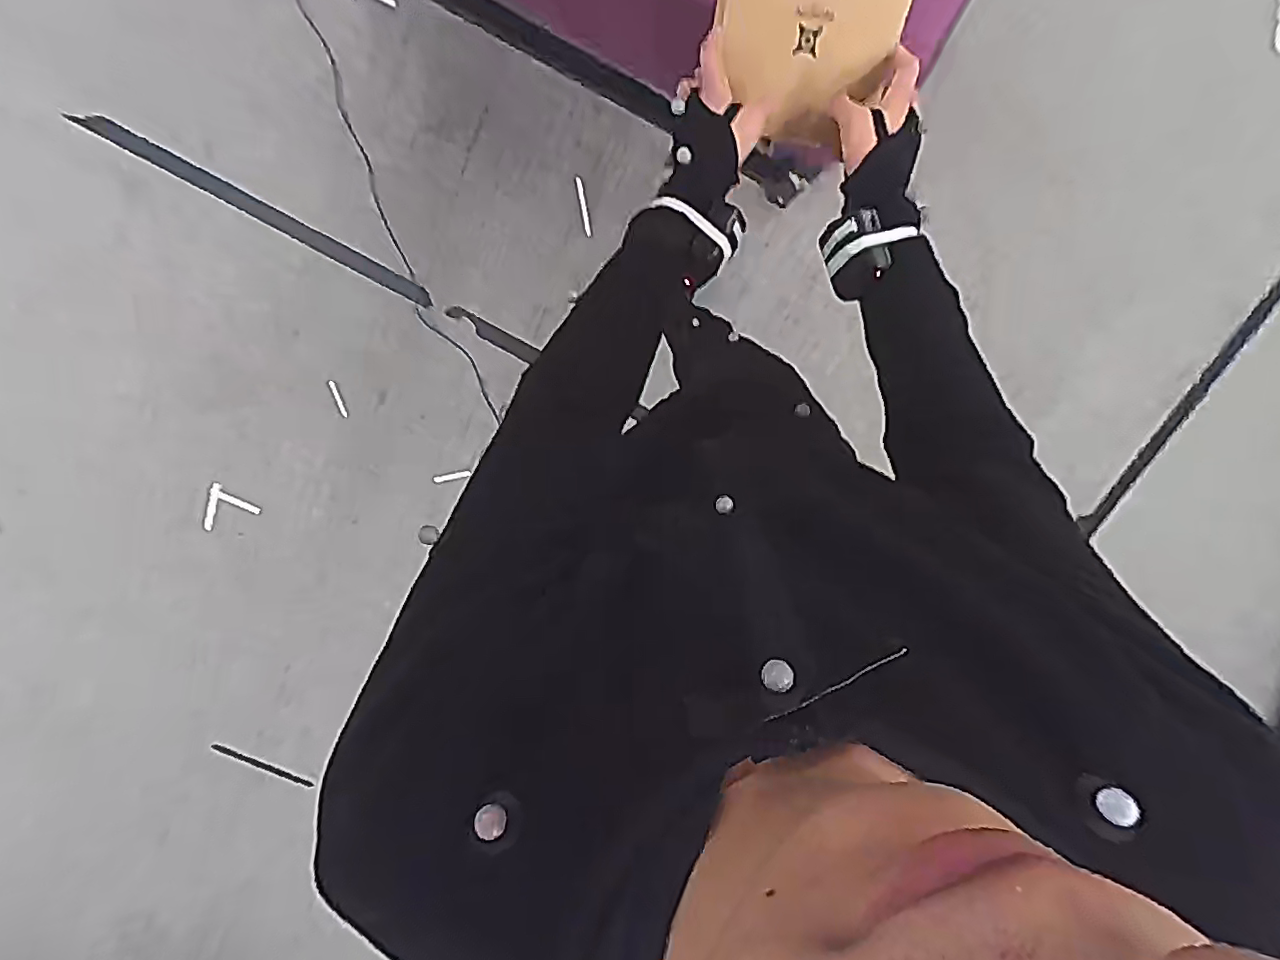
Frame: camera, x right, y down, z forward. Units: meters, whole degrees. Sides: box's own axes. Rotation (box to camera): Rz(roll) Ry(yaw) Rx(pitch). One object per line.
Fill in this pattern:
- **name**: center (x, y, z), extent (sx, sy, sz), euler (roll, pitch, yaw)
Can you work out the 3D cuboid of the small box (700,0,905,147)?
- **small box**: center (0.158, -0.461, 0.562), extent (0.168, 0.176, 0.179), euler (7, 122, -2)
